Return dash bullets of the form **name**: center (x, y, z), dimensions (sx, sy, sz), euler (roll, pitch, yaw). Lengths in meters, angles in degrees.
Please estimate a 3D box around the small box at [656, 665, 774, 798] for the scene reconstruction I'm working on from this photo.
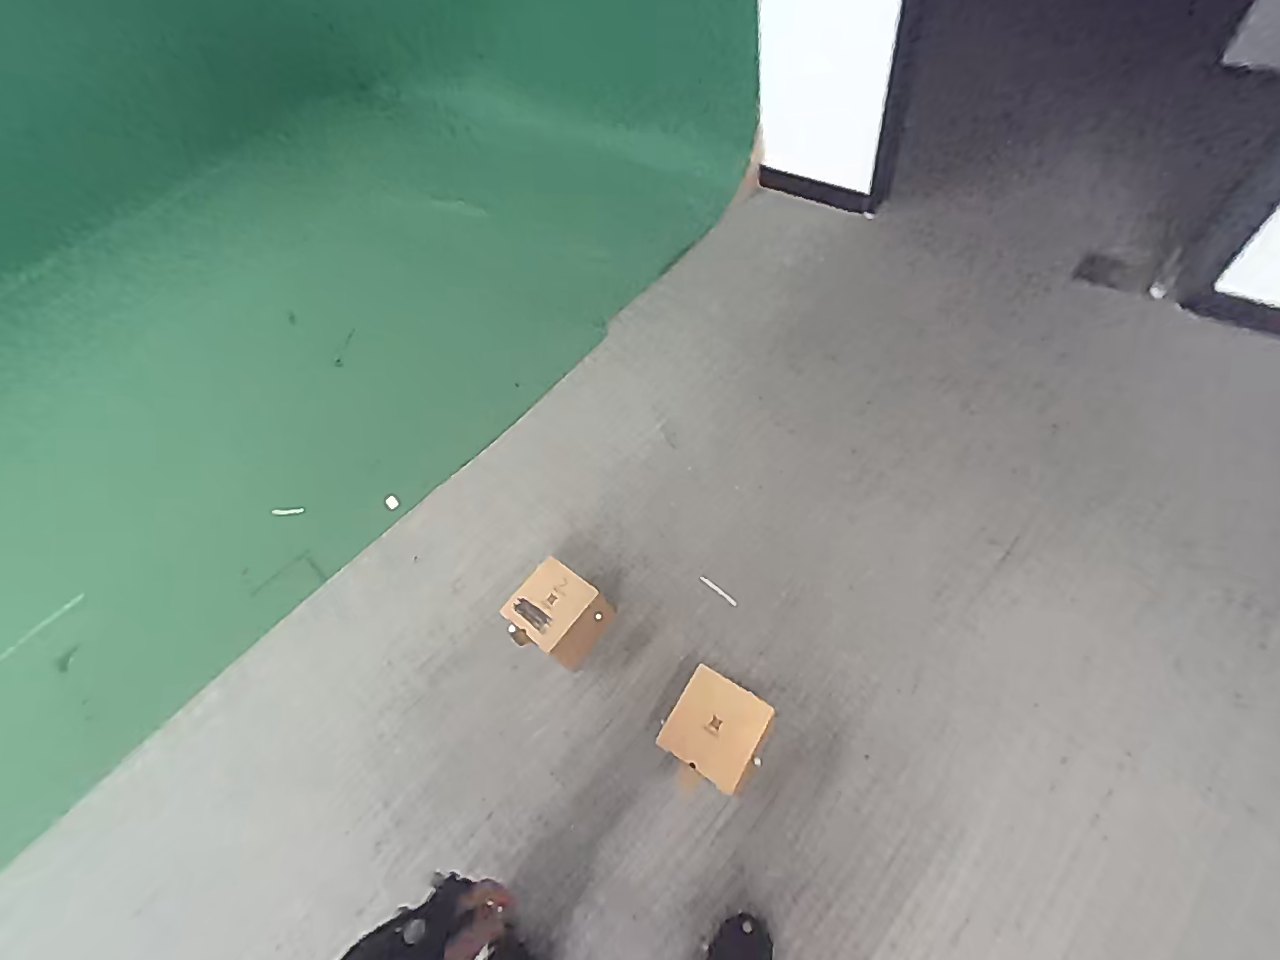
- **small box**: center (0.153, 0.507, 1.086), dimensions (0.168, 0.176, 0.179), euler (26, 68, 25)
